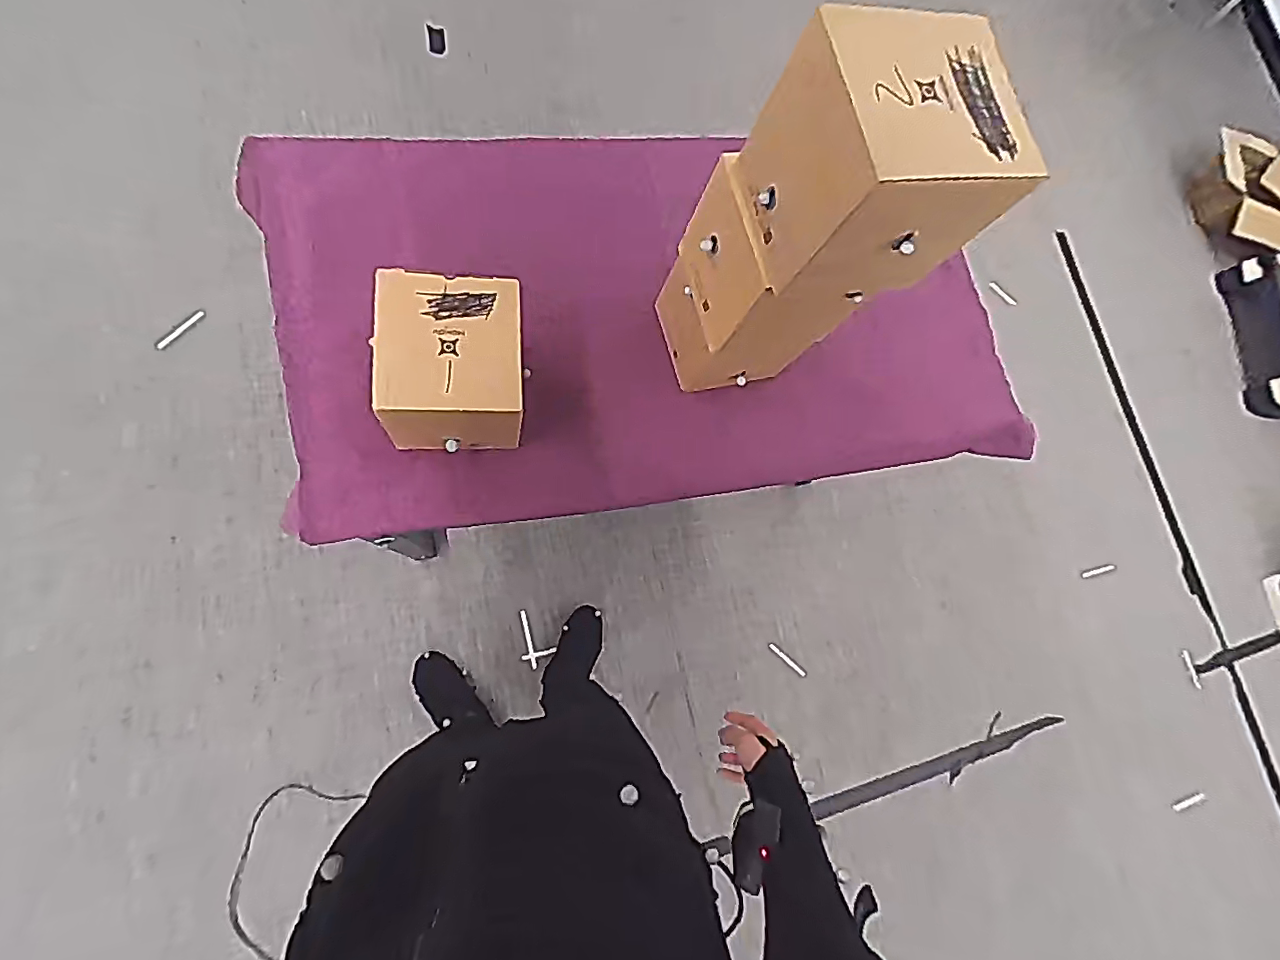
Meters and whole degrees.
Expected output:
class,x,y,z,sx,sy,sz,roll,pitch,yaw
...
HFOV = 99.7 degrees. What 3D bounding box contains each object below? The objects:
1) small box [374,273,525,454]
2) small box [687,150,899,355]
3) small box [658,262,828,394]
class,x,y,z,sx,sy,sz,roll,pitch,yaw
small box,-0.239,-0.141,0.708,0.168,0.176,0.179,-1,78,-14
small box,0.170,-0.270,0.667,0.179,0.176,0.168,-13,81,-17
small box,0.148,-0.248,0.828,0.179,0.176,0.168,-13,80,-17
